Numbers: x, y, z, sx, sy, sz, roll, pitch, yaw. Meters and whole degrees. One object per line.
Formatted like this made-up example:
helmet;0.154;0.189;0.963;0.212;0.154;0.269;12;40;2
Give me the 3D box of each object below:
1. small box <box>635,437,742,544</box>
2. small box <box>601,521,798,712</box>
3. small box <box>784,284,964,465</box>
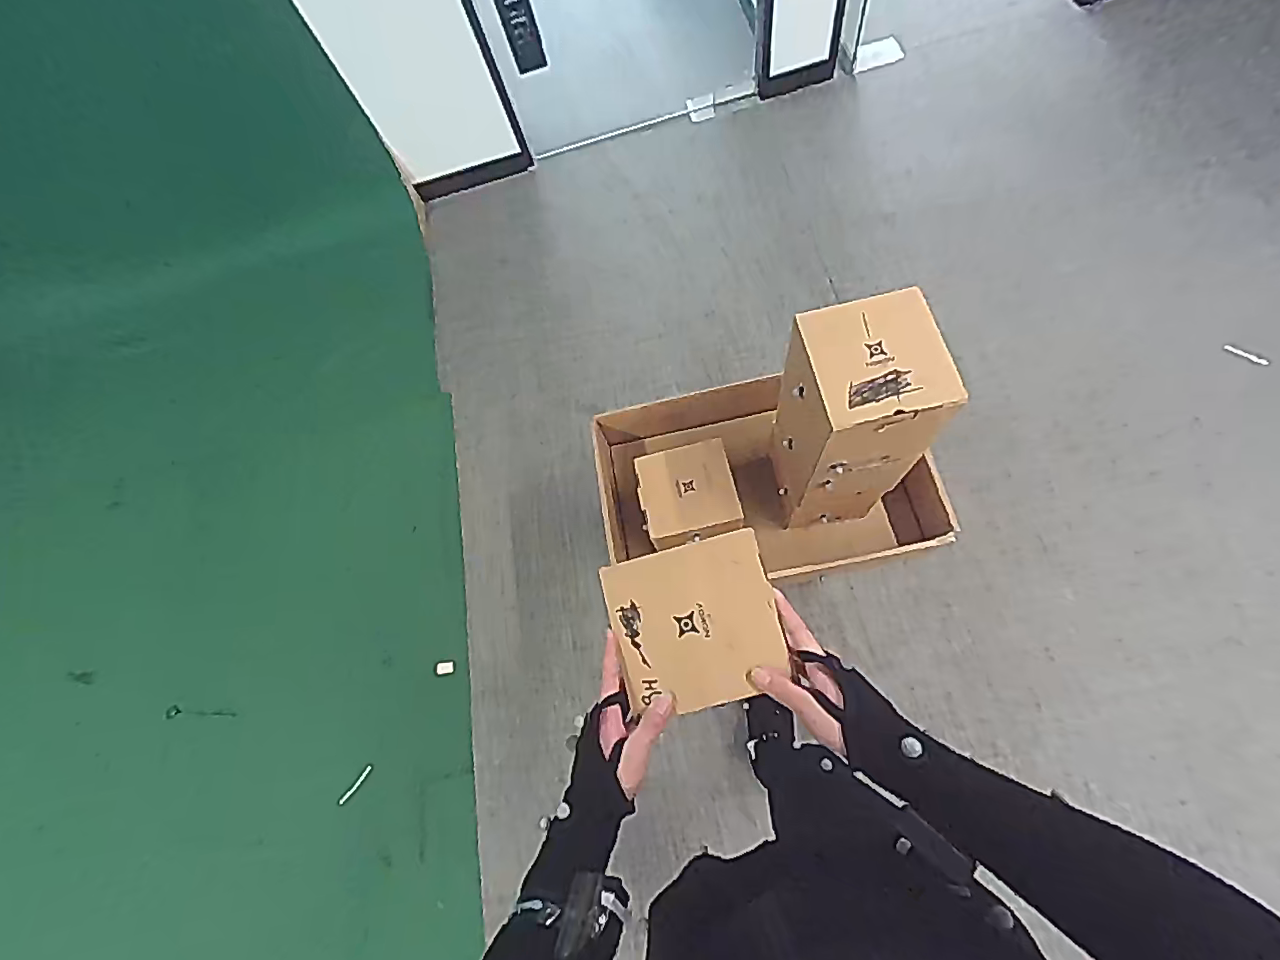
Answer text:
small box;0.099;0.036;1.079;0.179;0.176;0.168;-12;69;3
small box;0.067;0.159;0.642;0.179;0.176;0.168;-15;73;4
small box;0.307;-0.133;0.752;0.168;0.176;0.179;-12;68;5
